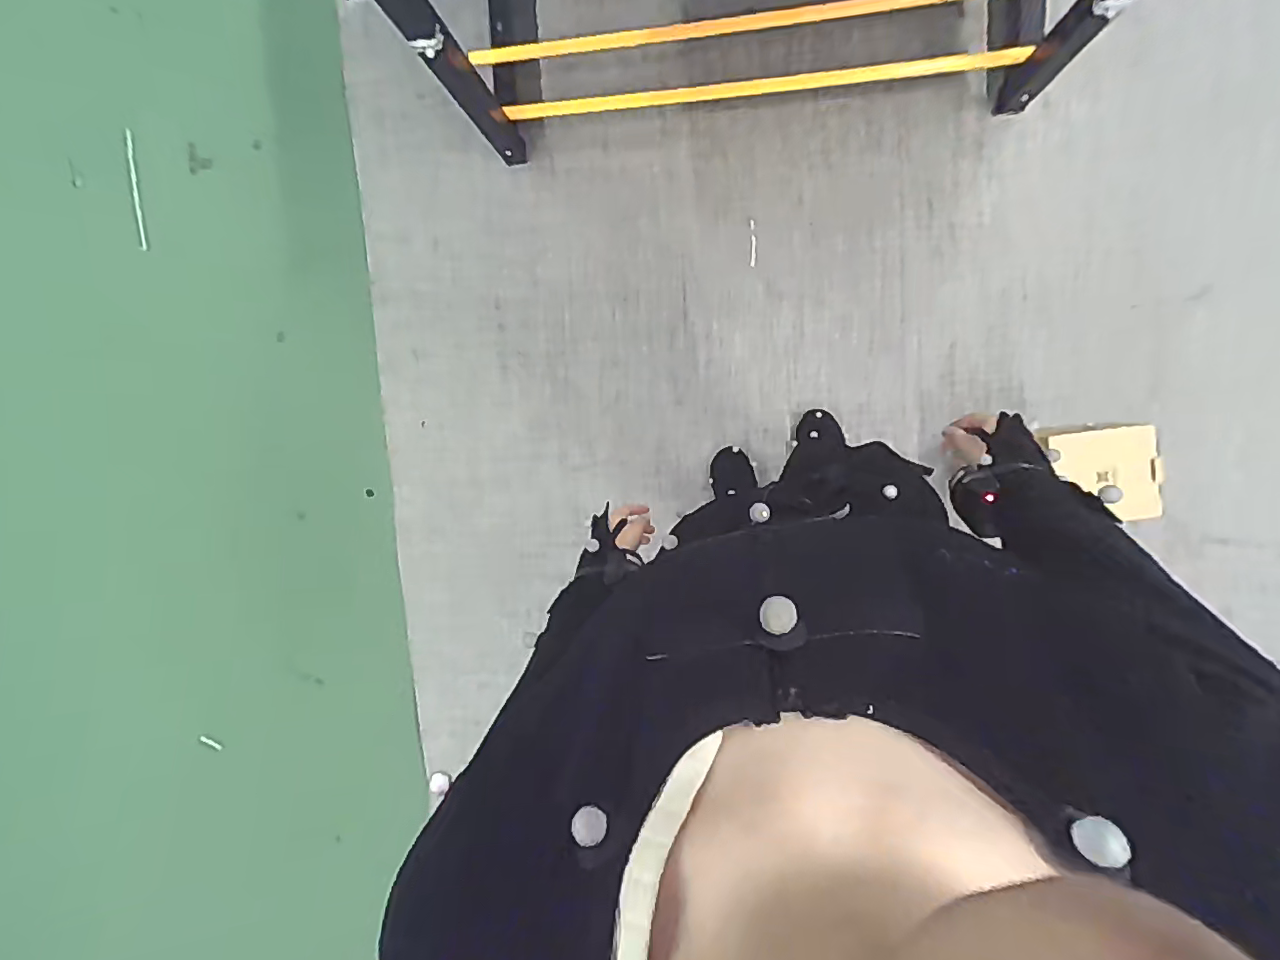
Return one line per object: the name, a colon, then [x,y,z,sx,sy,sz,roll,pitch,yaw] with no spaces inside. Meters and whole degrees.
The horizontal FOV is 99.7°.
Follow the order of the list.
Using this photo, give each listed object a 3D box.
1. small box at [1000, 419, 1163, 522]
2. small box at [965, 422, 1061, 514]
small box: [0.822,-0.024,1.023,0.179,0.176,0.168,-9,94,9]
small box: [0.839,-0.031,1.186,0.168,0.176,0.179,-8,94,8]
